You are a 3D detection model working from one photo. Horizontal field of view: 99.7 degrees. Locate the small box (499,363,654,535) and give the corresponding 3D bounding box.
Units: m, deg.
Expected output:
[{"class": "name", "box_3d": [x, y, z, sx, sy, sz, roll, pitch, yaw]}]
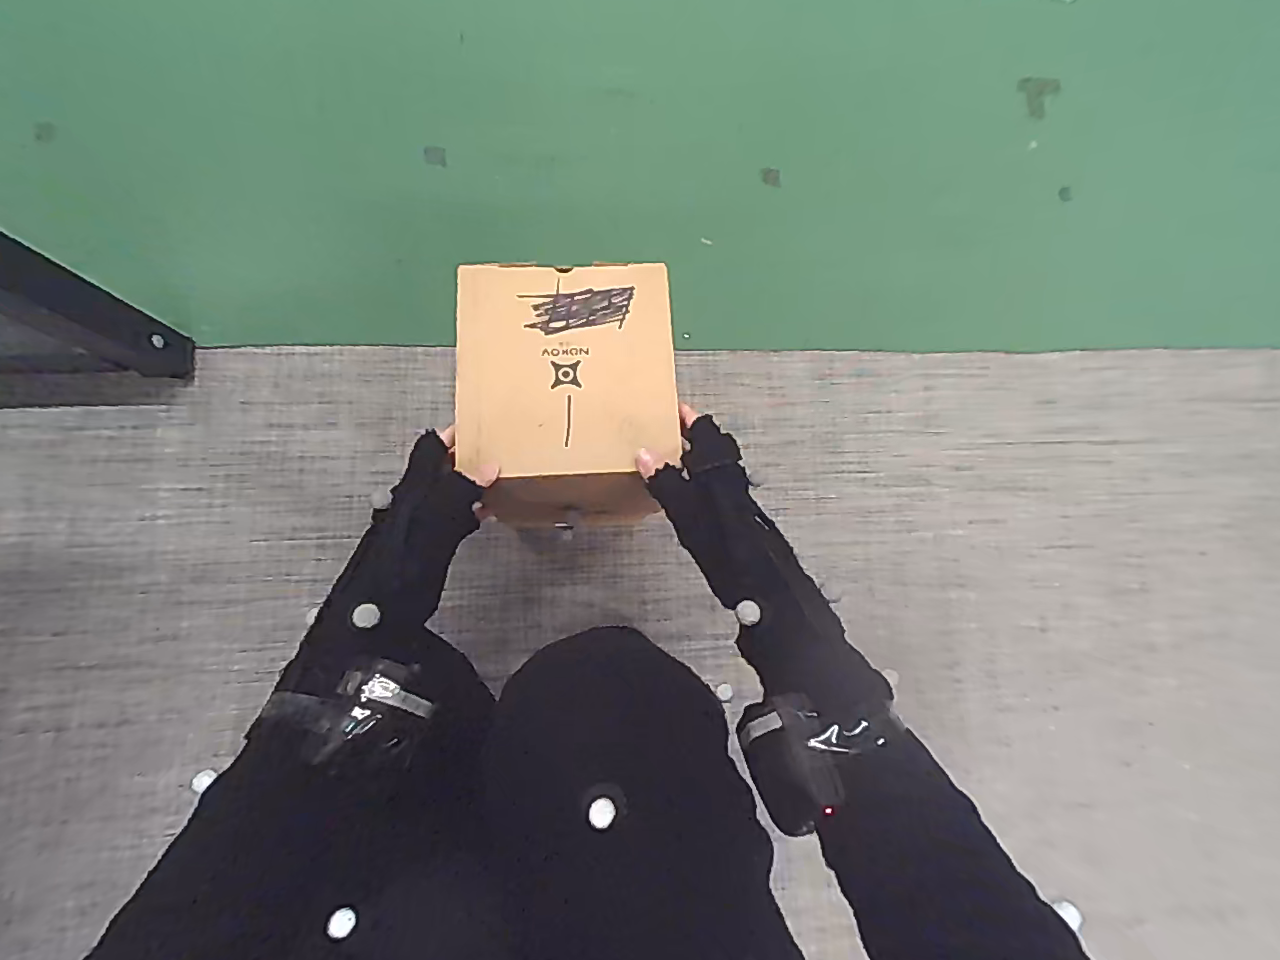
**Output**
[{"class": "small box", "box_3d": [-0.076, -0.029, 0.657, 0.168, 0.176, 0.179, -2, 82, -5]}]
